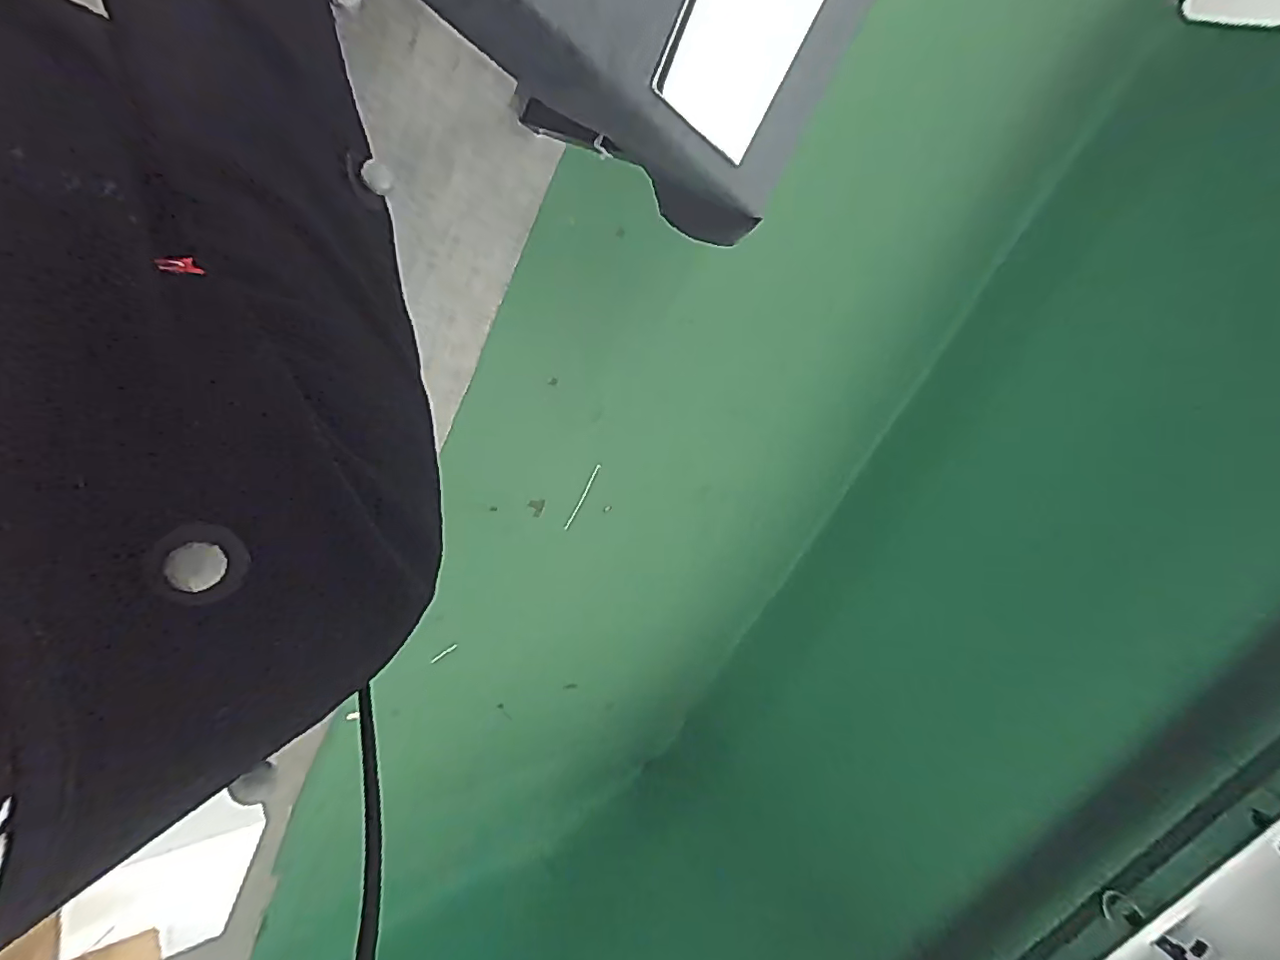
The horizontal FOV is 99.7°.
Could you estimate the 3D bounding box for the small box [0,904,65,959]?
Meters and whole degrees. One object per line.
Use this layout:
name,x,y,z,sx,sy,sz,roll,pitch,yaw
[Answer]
small box,-1.007,0.806,0.820,0.168,0.176,0.179,9,115,-50
